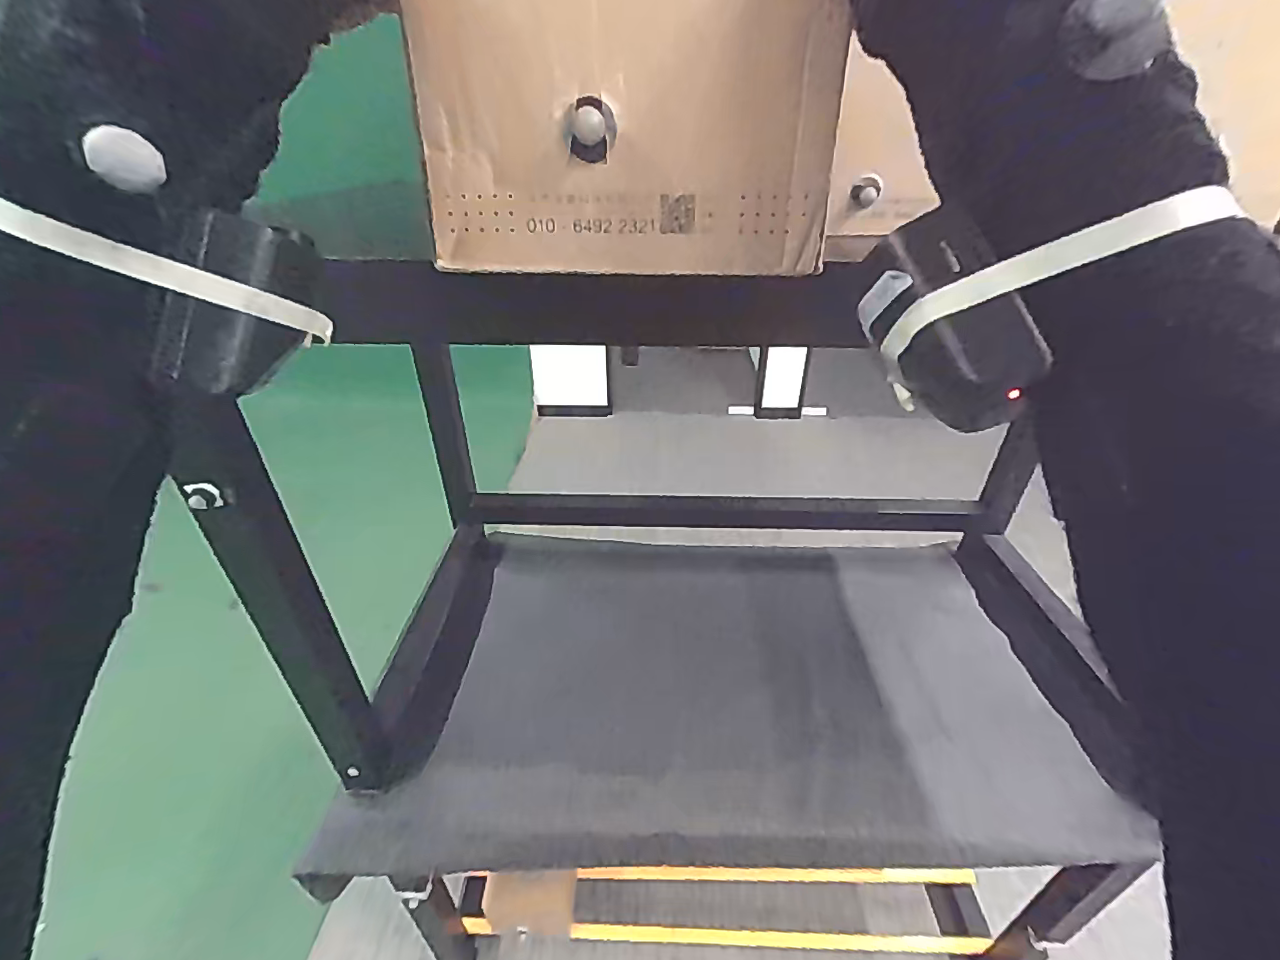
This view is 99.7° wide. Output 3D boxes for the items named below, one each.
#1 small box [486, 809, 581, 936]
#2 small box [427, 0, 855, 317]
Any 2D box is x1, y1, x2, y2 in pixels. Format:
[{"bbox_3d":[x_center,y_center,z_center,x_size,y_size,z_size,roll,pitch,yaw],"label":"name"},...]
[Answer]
[{"bbox_3d":[-0.221,0.848,1.172,0.168,0.176,0.179,0,35,2],"label":"small box"},{"bbox_3d":[-0.002,-0.189,0.284,0.168,0.176,0.179,1,27,1],"label":"small box"}]
